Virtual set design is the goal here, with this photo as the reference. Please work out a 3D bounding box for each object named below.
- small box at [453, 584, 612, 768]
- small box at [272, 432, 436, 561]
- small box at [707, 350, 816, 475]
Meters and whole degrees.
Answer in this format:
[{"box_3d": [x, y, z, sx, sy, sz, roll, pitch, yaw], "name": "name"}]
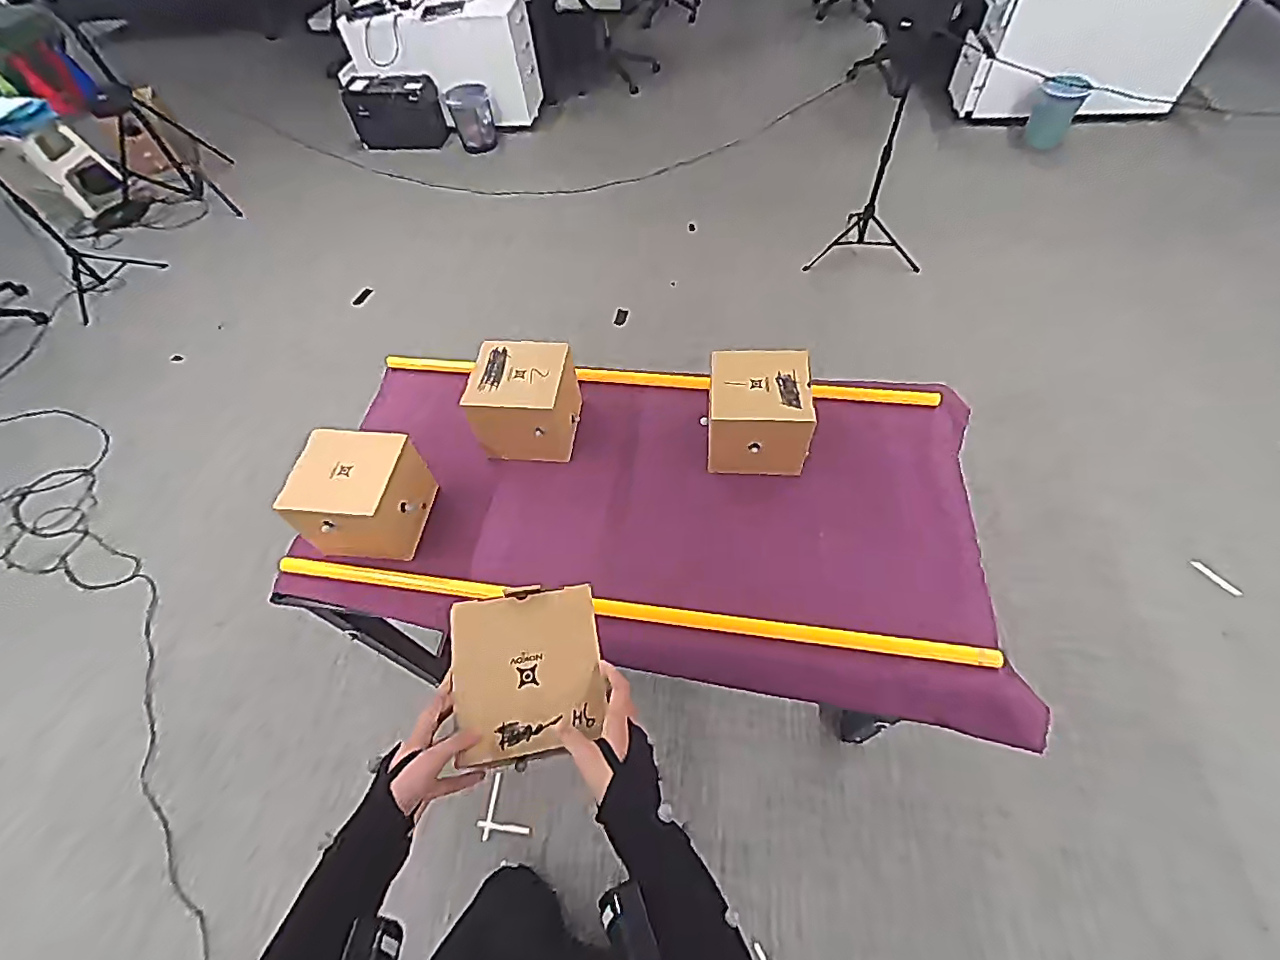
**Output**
[{"box_3d": [-0.130, 0.246, 0.668, 0.168, 0.176, 0.179, -6, 63, -9], "name": "small box"}, {"box_3d": [-0.490, 0.034, 0.962, 0.179, 0.176, 0.168, 3, 56, 6], "name": "small box"}, {"box_3d": [0.216, -0.121, 1.002, 0.179, 0.176, 0.168, 1, 57, 7], "name": "small box"}]
